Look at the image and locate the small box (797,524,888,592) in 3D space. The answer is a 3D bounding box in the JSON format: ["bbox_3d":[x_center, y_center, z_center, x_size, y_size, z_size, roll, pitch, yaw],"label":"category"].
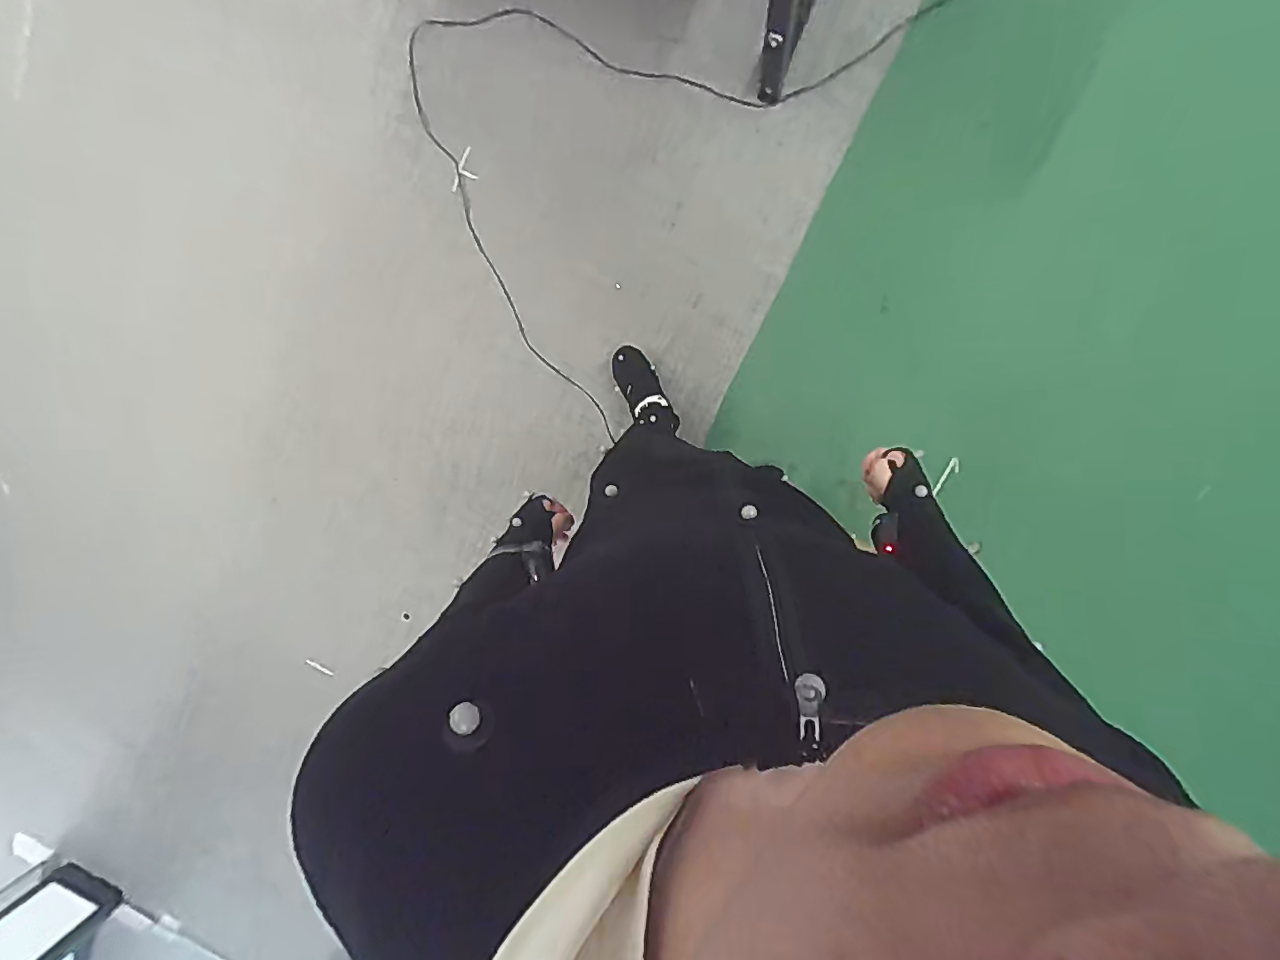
[{"bbox_3d":[0.558,0.250,1.519,0.168,0.176,0.179,29,103,4],"label":"small box"}]
